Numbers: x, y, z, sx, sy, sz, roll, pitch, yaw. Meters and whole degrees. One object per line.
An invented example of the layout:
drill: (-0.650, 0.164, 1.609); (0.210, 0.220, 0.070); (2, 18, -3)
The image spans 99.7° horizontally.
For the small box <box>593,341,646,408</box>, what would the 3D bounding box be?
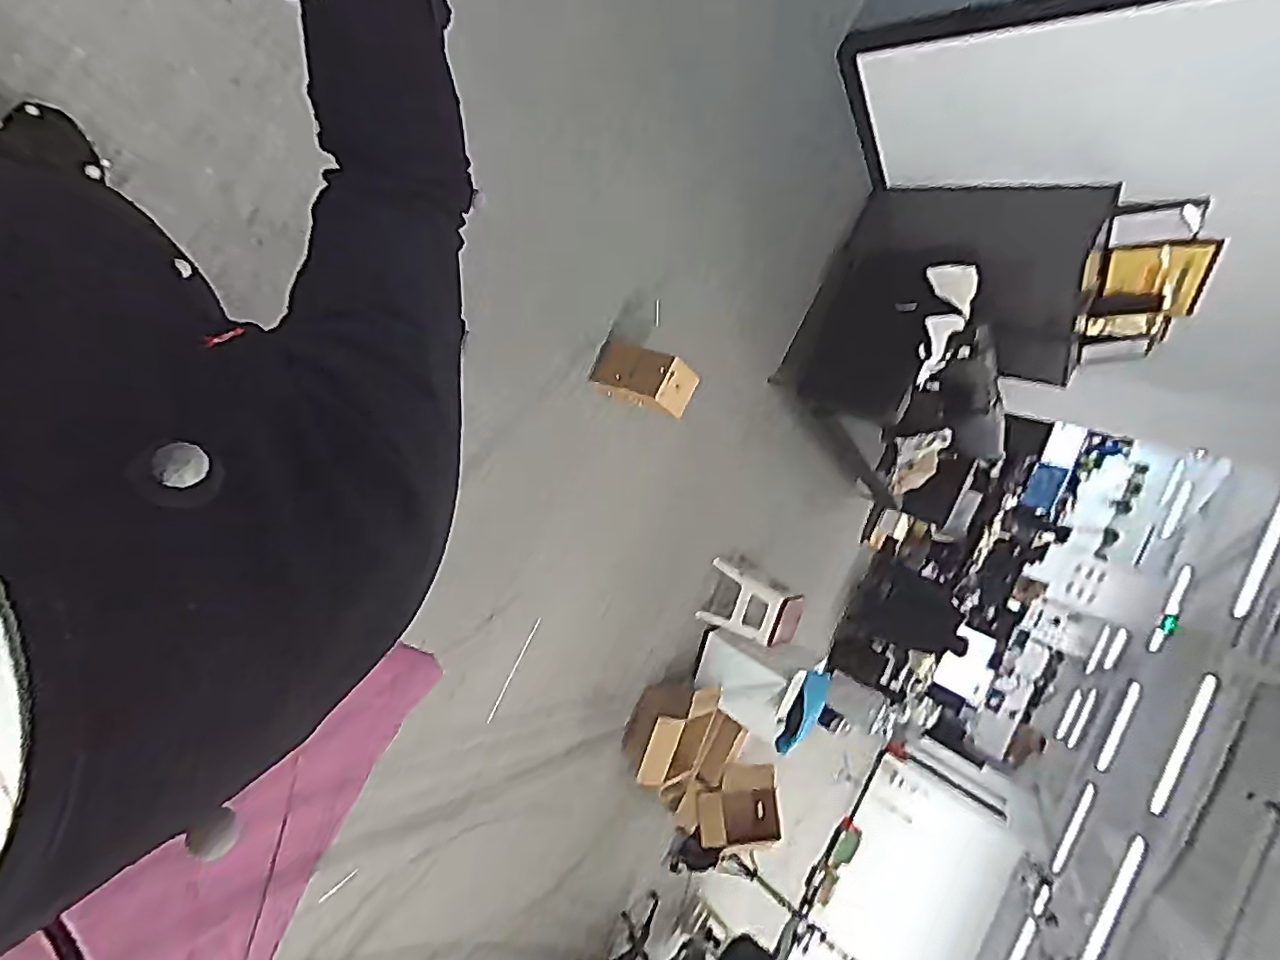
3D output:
small box: (-0.046, -0.398, 2.014); (0.168, 0.176, 0.179); (31, 85, -51)

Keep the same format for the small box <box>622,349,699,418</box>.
small box: (0.072, -0.345, 1.911); (0.179, 0.176, 0.168); (31, 84, -52)
